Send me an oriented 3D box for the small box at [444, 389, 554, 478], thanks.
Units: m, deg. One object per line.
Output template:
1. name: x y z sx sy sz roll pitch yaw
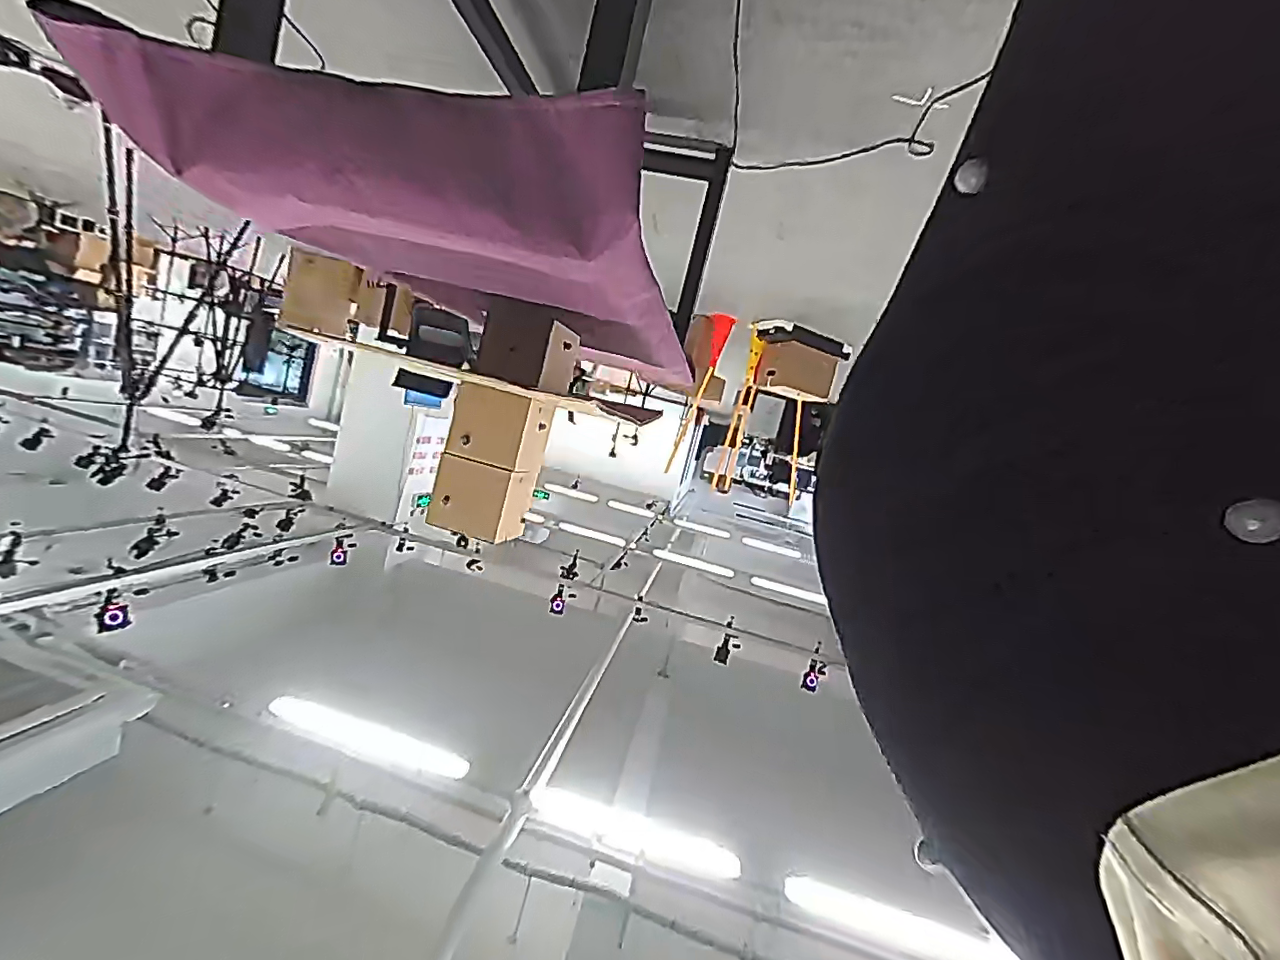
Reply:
1. small box: -0.321 -0.108 1.257 0.179 0.176 0.168 14 -177 9
